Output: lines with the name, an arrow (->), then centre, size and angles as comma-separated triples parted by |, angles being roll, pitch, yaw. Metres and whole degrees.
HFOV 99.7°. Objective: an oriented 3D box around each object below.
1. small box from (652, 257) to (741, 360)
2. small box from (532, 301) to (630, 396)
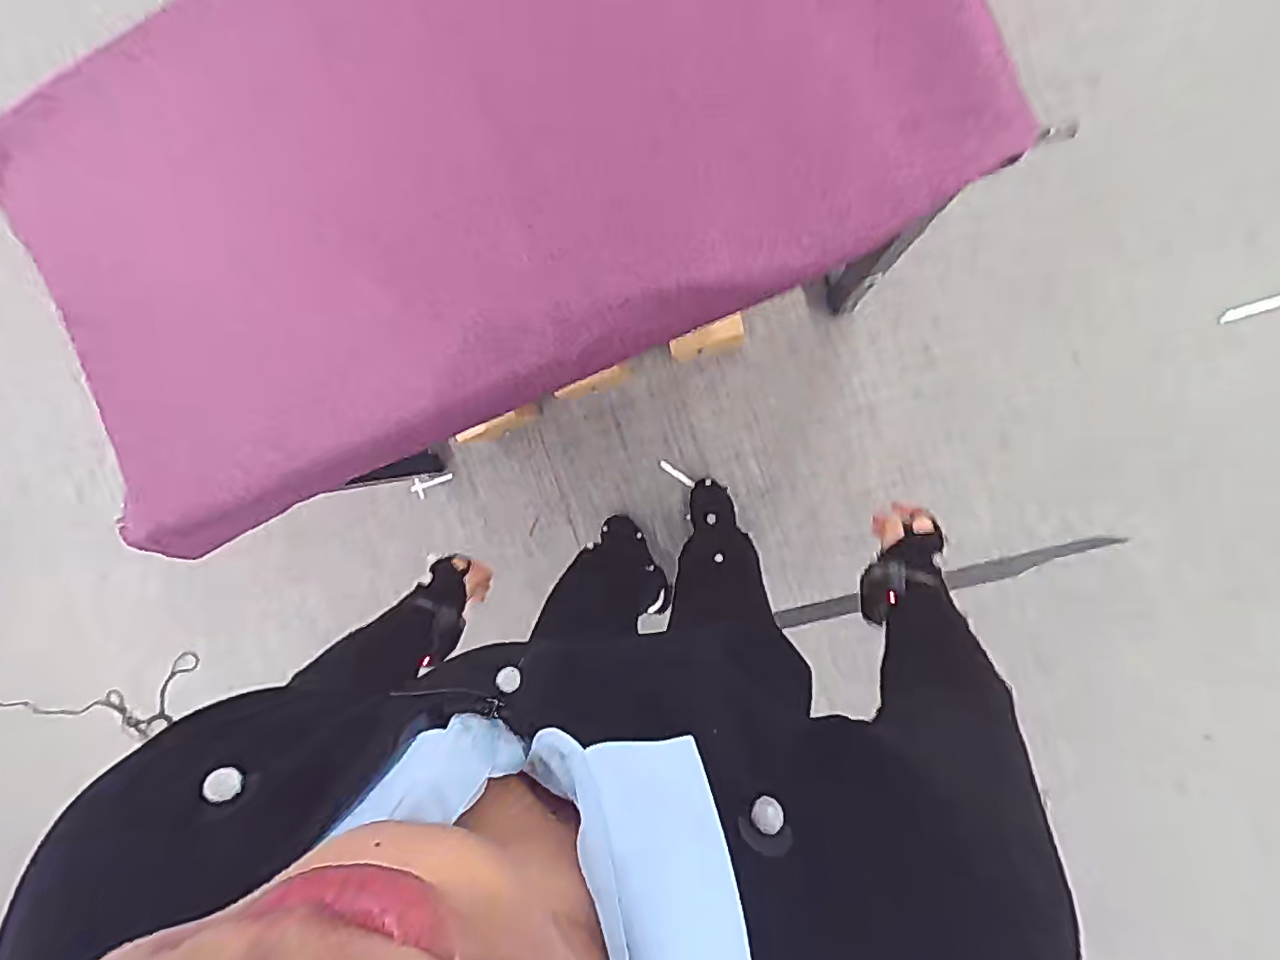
small box -> 0.138, -0.388, 1.263 | 0.168, 0.176, 0.179 | -15, 91, 11
small box -> -0.135, -0.309, 1.315 | 0.168, 0.176, 0.179 | -17, 91, 10
